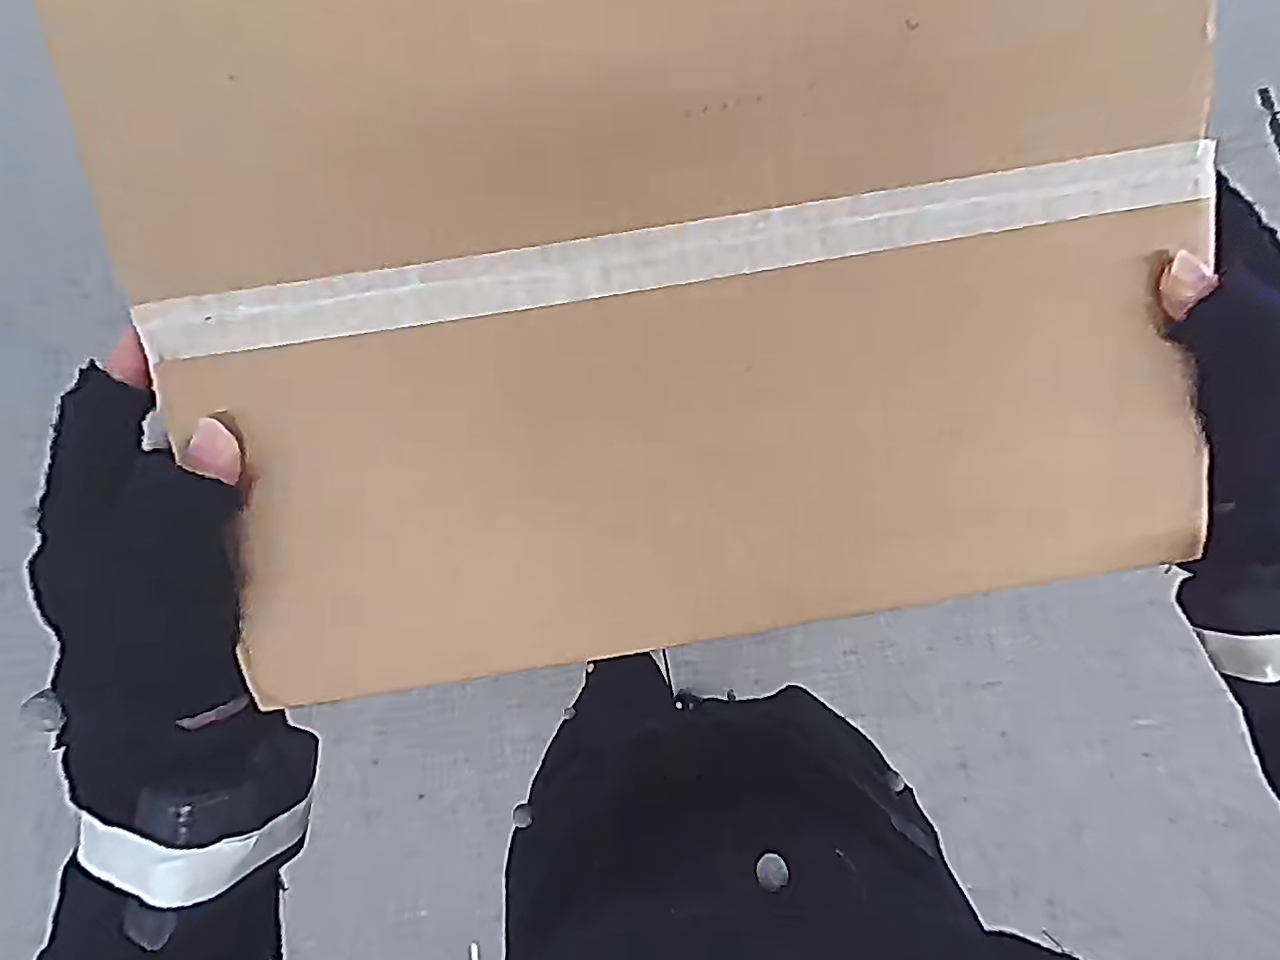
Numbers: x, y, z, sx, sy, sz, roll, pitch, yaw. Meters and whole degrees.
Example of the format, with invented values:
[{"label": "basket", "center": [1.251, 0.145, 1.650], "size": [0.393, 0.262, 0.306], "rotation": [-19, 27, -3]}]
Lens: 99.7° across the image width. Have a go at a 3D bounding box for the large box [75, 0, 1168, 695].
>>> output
[{"label": "large box", "center": [0.009, -0.111, 0.363], "size": [0.408, 0.320, 0.320], "rotation": [-9, 100, -1]}]
